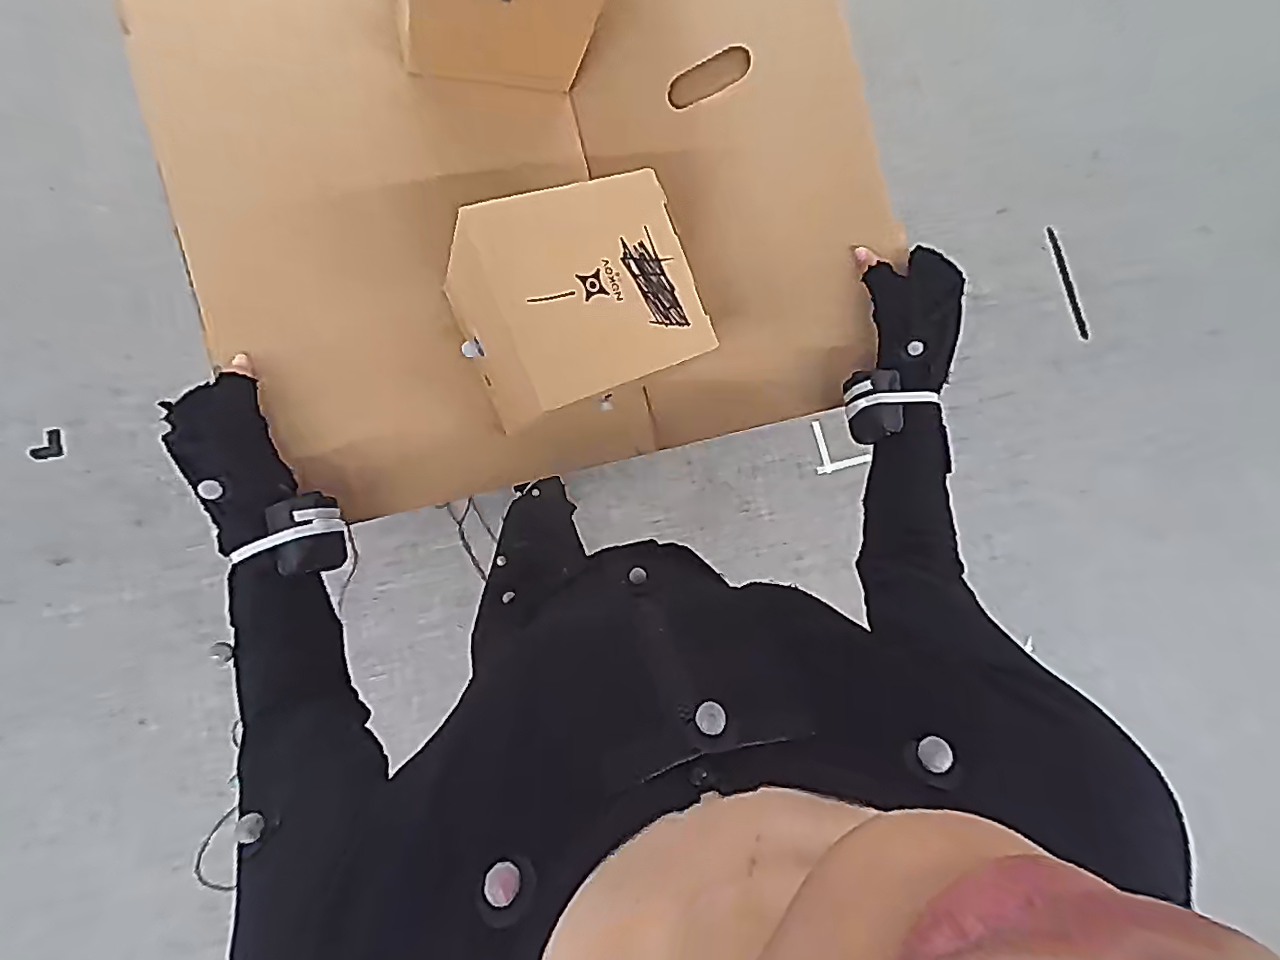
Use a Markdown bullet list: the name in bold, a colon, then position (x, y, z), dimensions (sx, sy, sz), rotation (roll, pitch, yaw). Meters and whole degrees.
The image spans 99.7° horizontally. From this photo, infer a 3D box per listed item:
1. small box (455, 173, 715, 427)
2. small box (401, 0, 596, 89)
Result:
- **small box**: position (-0.063, -0.162, 0.528), dimensions (0.179, 0.176, 0.168), rotation (-25, 97, -22)
- **small box**: position (-0.140, -0.516, 0.517), dimensions (0.179, 0.176, 0.168), rotation (-11, 91, -24)
